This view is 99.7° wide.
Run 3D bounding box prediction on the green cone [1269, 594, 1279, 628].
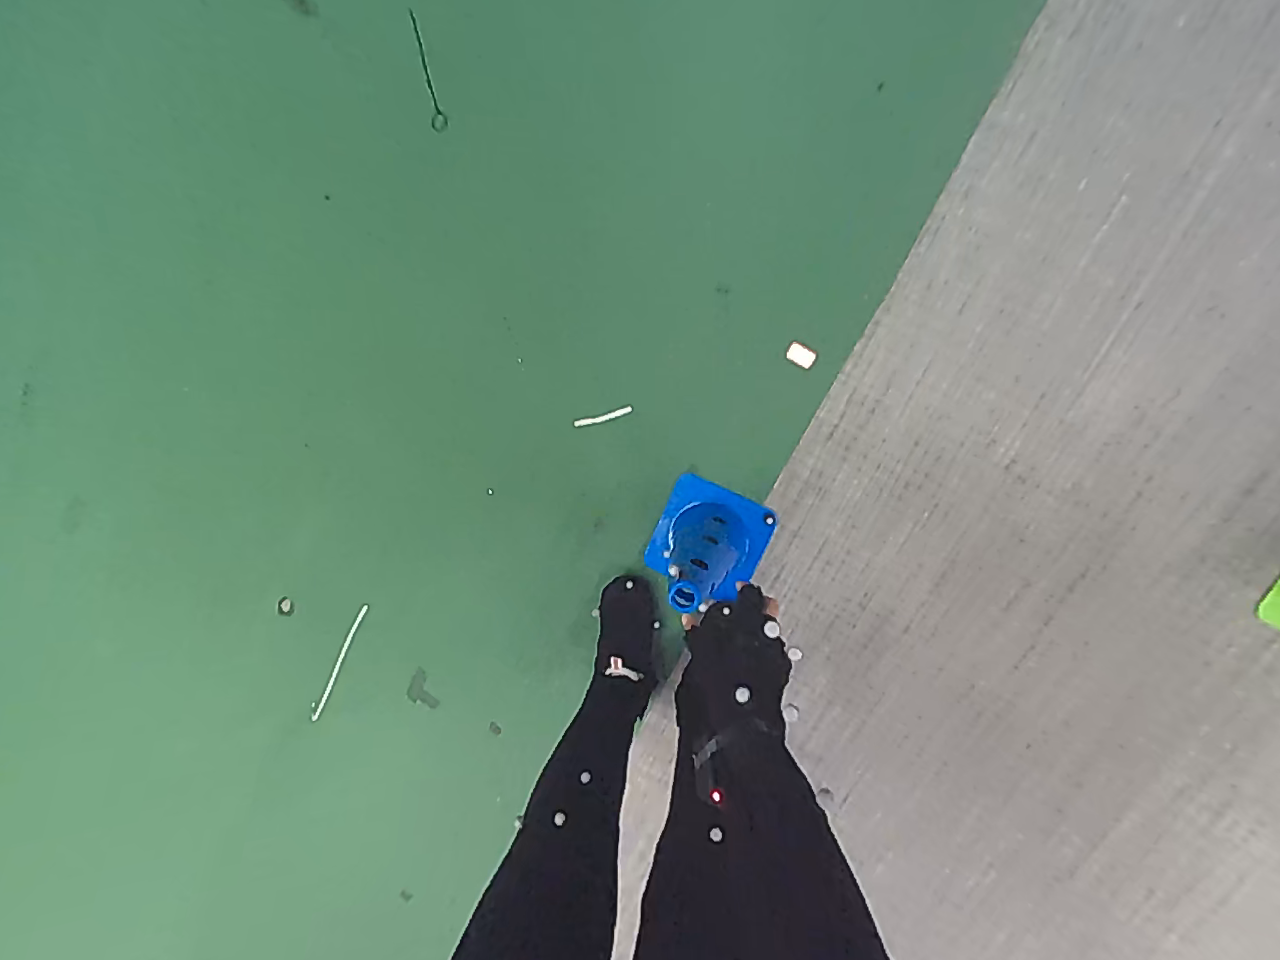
[{"bbox_3d":[1.032,0.189,0.620,0.202,0.368,0.200,28,101,8],"label":"green cone"}]
